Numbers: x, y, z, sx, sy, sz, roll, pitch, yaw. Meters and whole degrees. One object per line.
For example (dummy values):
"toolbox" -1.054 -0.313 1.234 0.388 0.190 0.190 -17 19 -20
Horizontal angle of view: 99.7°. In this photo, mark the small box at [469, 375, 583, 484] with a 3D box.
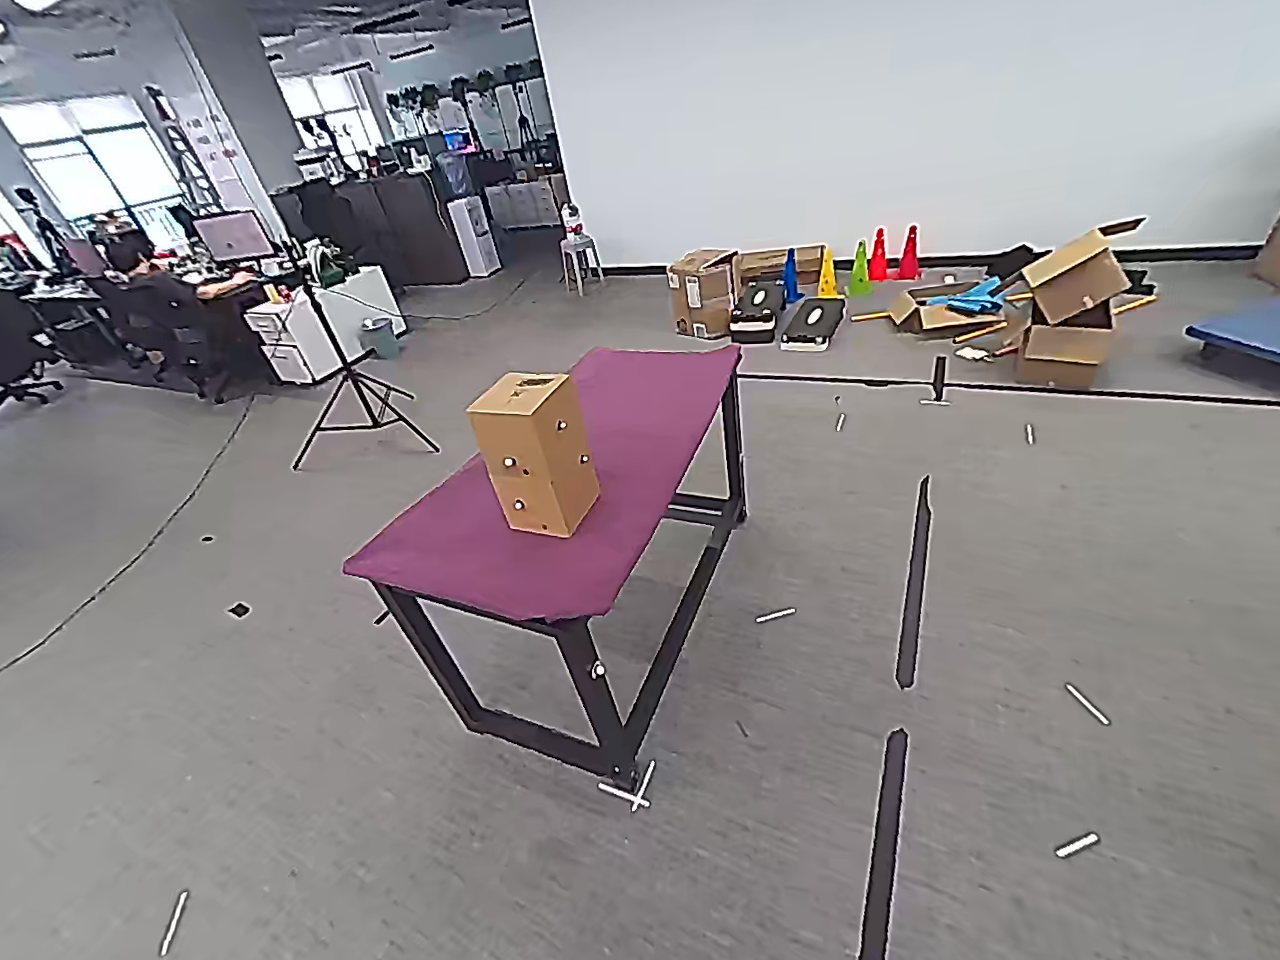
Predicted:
"small box" -0.239 -0.115 1.190 0.168 0.176 0.179 6 39 23

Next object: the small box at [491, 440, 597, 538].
"small box" -0.218 0.017 1.287 0.168 0.176 0.179 6 39 22
